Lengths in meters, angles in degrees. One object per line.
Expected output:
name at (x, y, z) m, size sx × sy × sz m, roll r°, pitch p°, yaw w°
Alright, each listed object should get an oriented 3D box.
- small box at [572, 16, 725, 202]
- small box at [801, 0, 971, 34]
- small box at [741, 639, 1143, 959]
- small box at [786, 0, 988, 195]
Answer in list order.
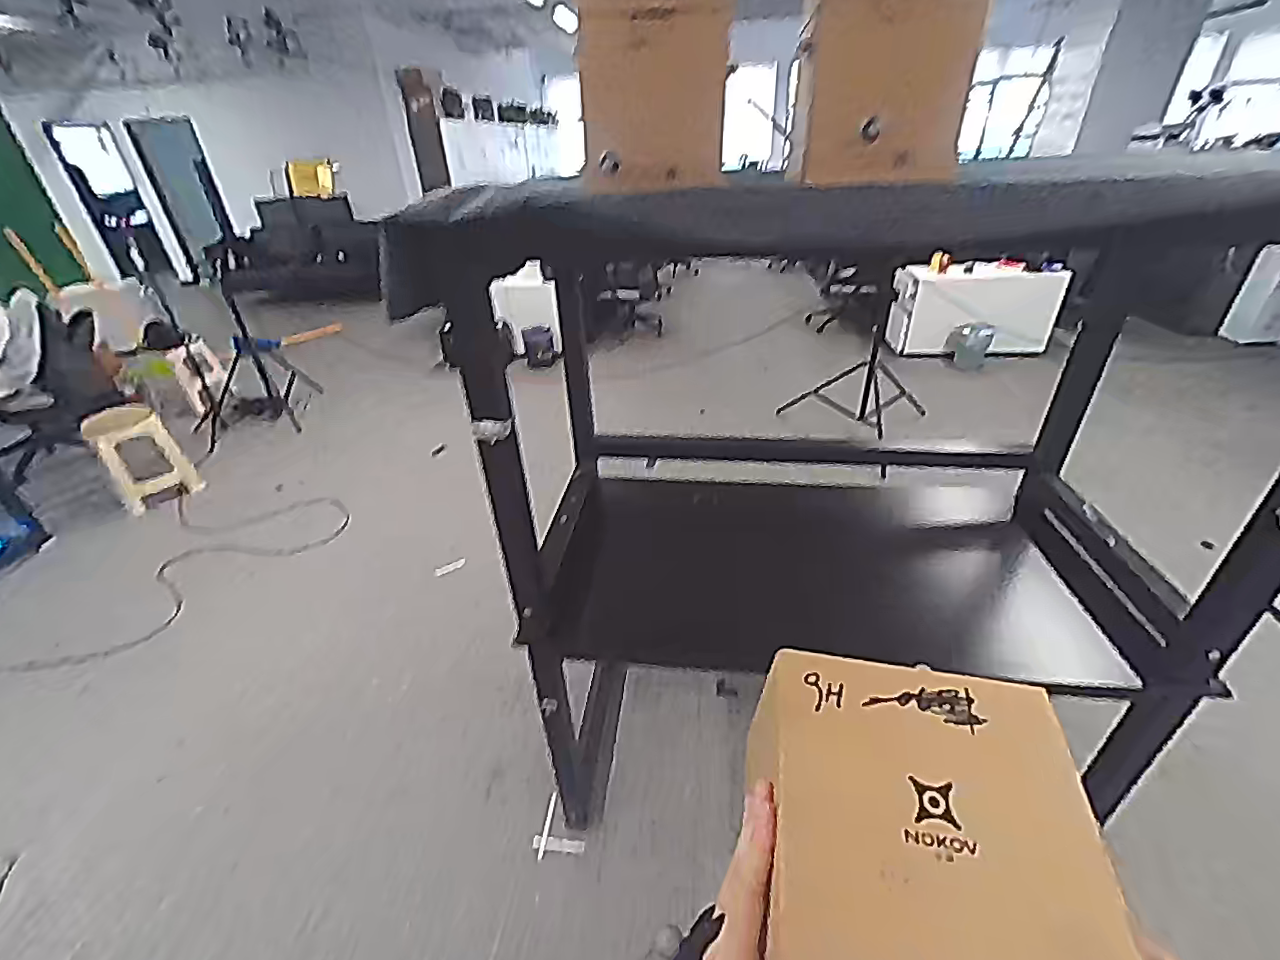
small box at (0.018, -0.444, 0.672) m, size 0.168 × 0.176 × 0.179 m, roll 1°, pitch 29°, yaw 4°
small box at (0.270, -0.585, 0.569) m, size 0.168 × 0.176 × 0.179 m, roll 2°, pitch 31°, yaw 8°
small box at (0.159, 0.231, 0.347) m, size 0.168 × 0.176 × 0.179 m, roll 7°, pitch 47°, yaw 7°
small box at (0.273, -0.440, 0.648) m, size 0.168 × 0.176 × 0.179 m, roll 1°, pitch 30°, yaw 7°
